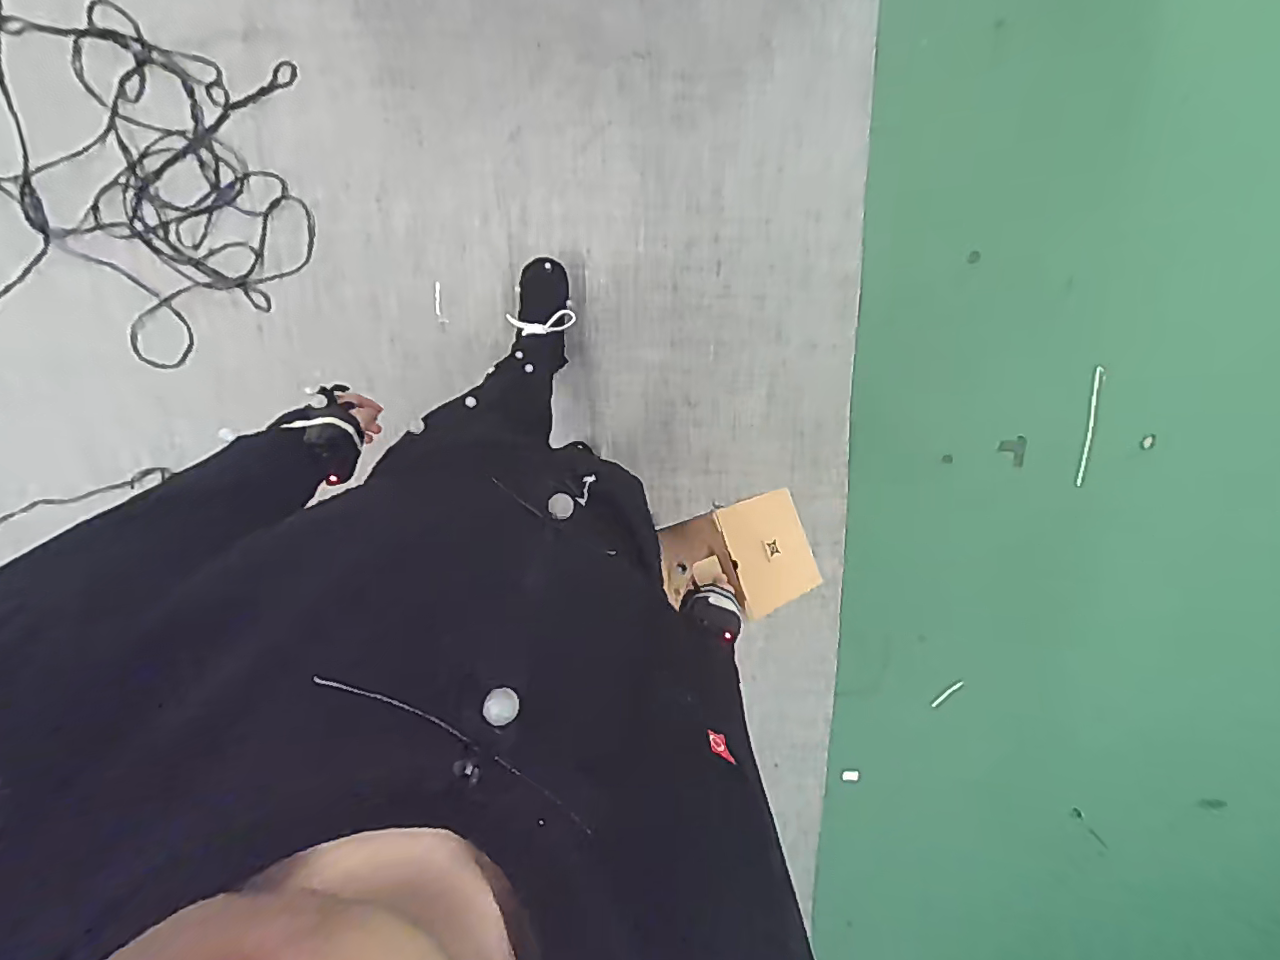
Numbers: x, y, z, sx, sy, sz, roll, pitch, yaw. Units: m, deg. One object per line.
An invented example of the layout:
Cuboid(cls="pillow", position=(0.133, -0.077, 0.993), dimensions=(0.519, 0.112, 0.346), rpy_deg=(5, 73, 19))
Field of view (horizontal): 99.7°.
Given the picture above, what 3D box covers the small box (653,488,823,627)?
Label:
Cuboid(cls="small box", position=(0.151, 0.124, 0.863), dimensions=(0.179, 0.176, 0.168), rpy_deg=(-15, 84, -38))
